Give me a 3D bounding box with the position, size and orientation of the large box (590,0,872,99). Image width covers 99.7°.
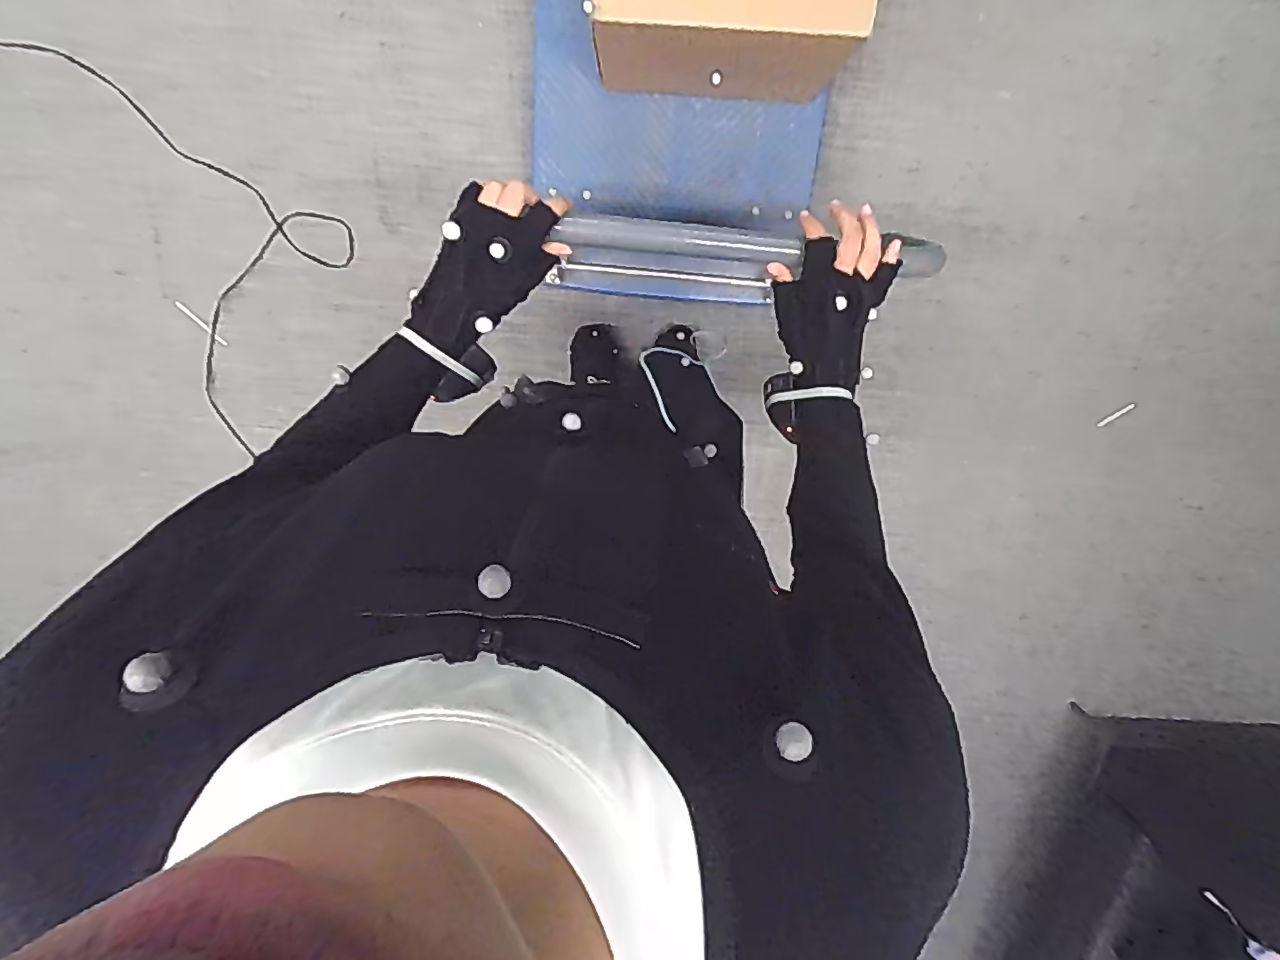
[{"bbox_3d":[0.137,-0.838,0.862,0.408,0.320,0.320,3,109,0],"label":"large box"}]
